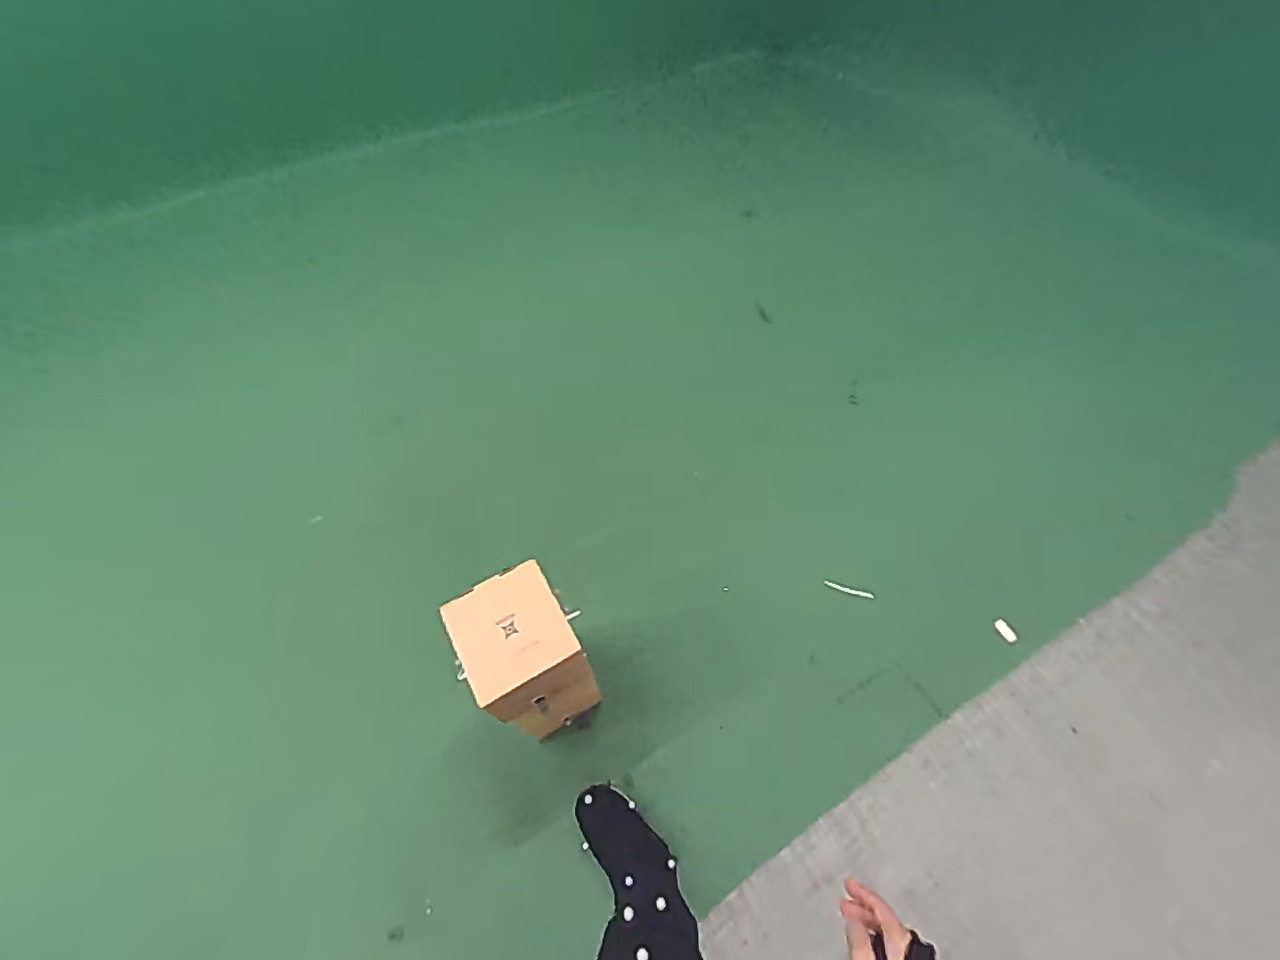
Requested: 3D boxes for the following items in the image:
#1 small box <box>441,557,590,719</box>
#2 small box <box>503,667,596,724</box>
[{"bbox_3d":[-0.196,0.263,0.887,0.168,0.176,0.179,-29,62,-15],"label":"small box"},{"bbox_3d":[-0.194,0.343,1.029,0.168,0.176,0.179,-26,61,-15],"label":"small box"}]
